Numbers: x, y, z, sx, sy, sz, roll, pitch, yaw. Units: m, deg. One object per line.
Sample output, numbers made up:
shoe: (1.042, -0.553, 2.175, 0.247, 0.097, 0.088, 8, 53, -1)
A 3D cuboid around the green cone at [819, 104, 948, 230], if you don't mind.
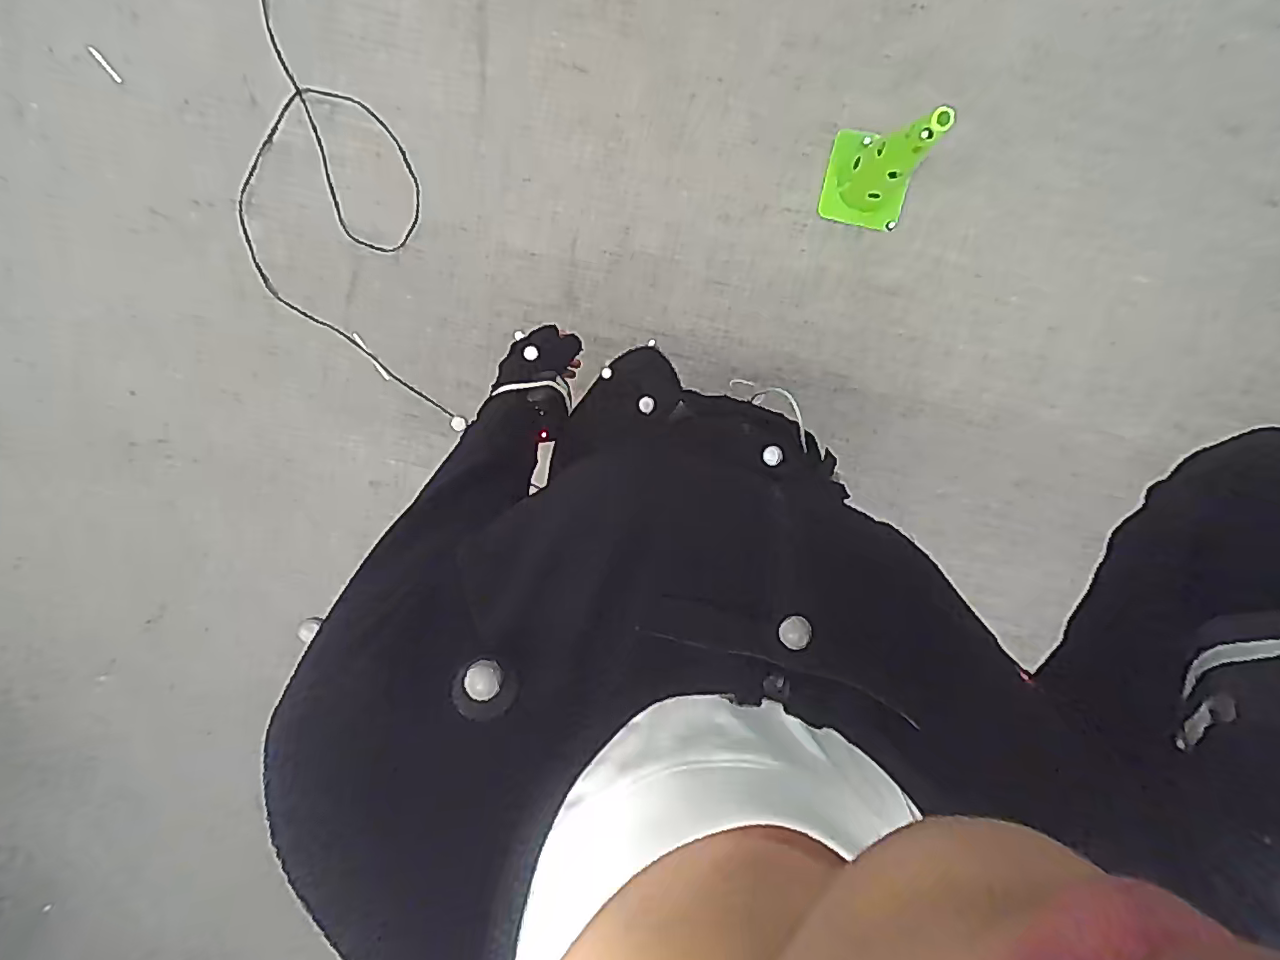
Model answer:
green cone: (0.542, -0.689, 1.137, 0.202, 0.368, 0.200, 11, 102, 0)
